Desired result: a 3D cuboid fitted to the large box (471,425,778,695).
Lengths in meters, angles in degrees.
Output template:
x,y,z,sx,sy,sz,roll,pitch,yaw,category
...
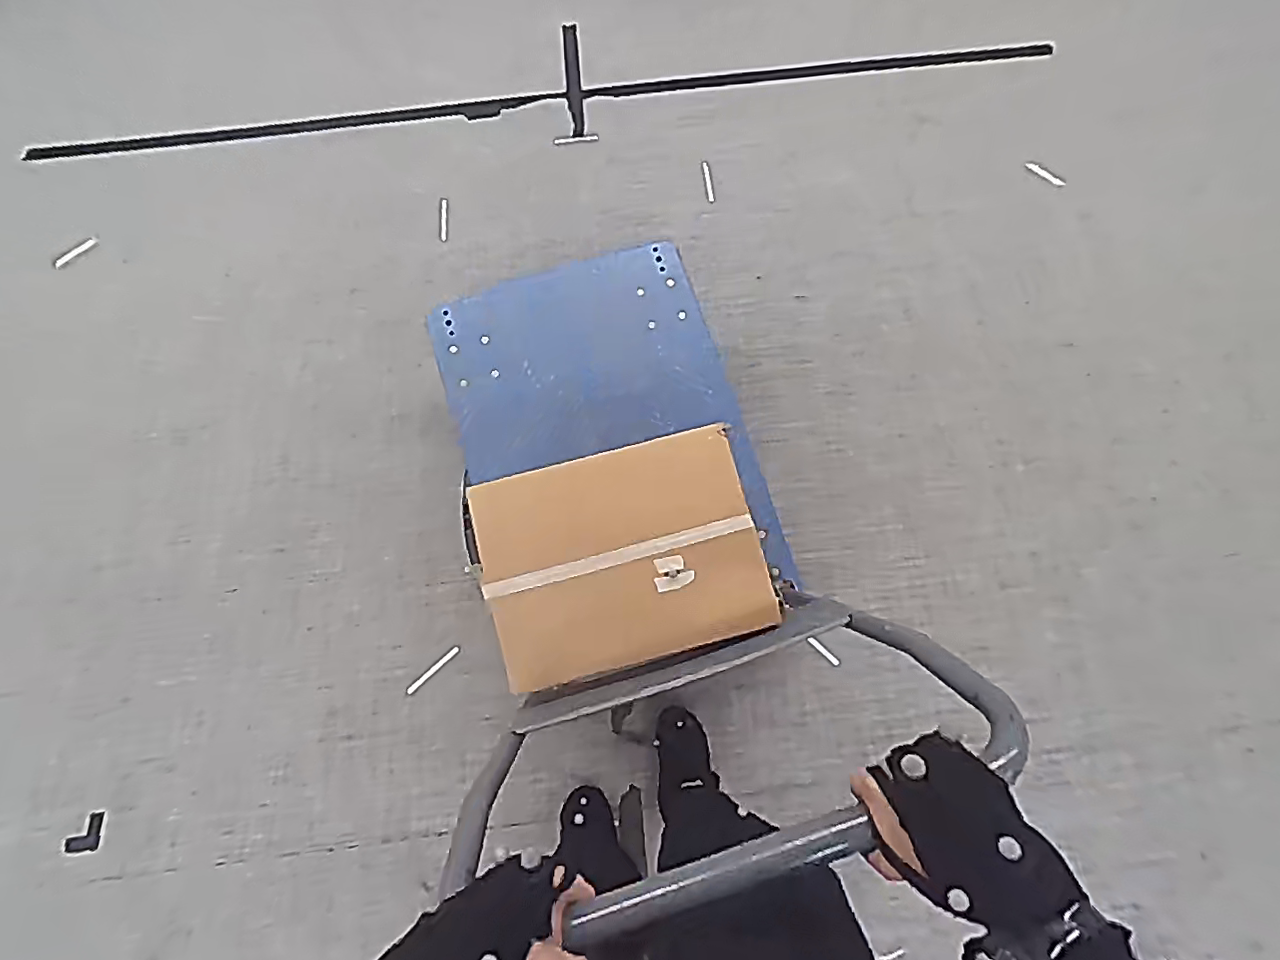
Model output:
x,y,z,sx,sy,sz,roll,pitch,yaw,category
-0.030,0.136,0.949,0.408,0.320,0.320,-15,82,-4,large box
